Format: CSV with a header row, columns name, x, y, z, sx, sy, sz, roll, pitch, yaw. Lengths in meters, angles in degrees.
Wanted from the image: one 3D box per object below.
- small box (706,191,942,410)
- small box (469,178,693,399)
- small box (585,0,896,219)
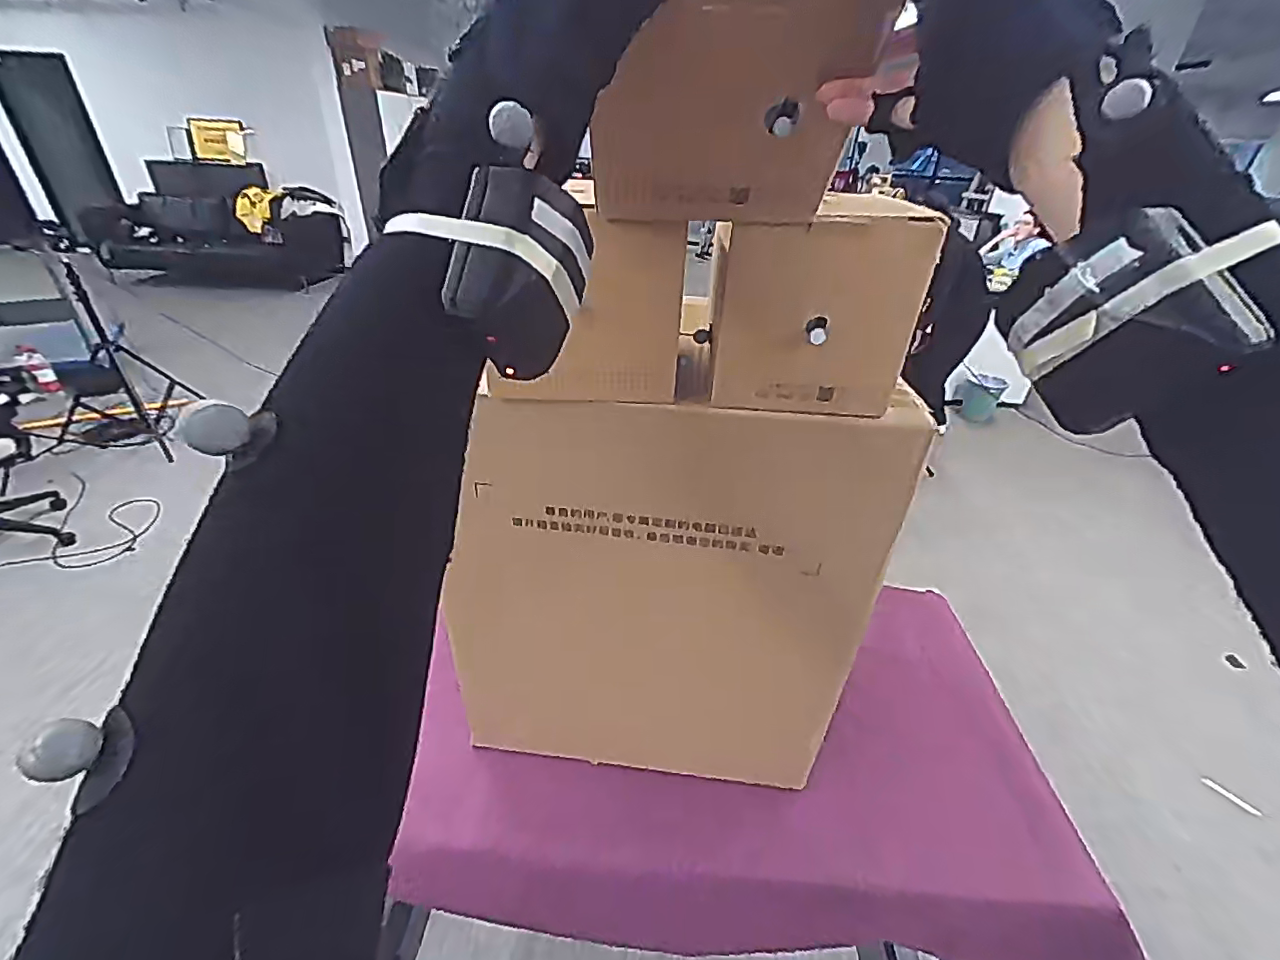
name,x,y,z,sx,sy,sz,roll,pitch,yaw
small box,0.157,-0.180,0.531,0.168,0.176,0.179,5,34,2
small box,-0.049,-0.187,0.527,0.179,0.176,0.168,1,34,-2
small box,0.054,-0.303,0.362,0.168,0.176,0.179,1,72,-1
